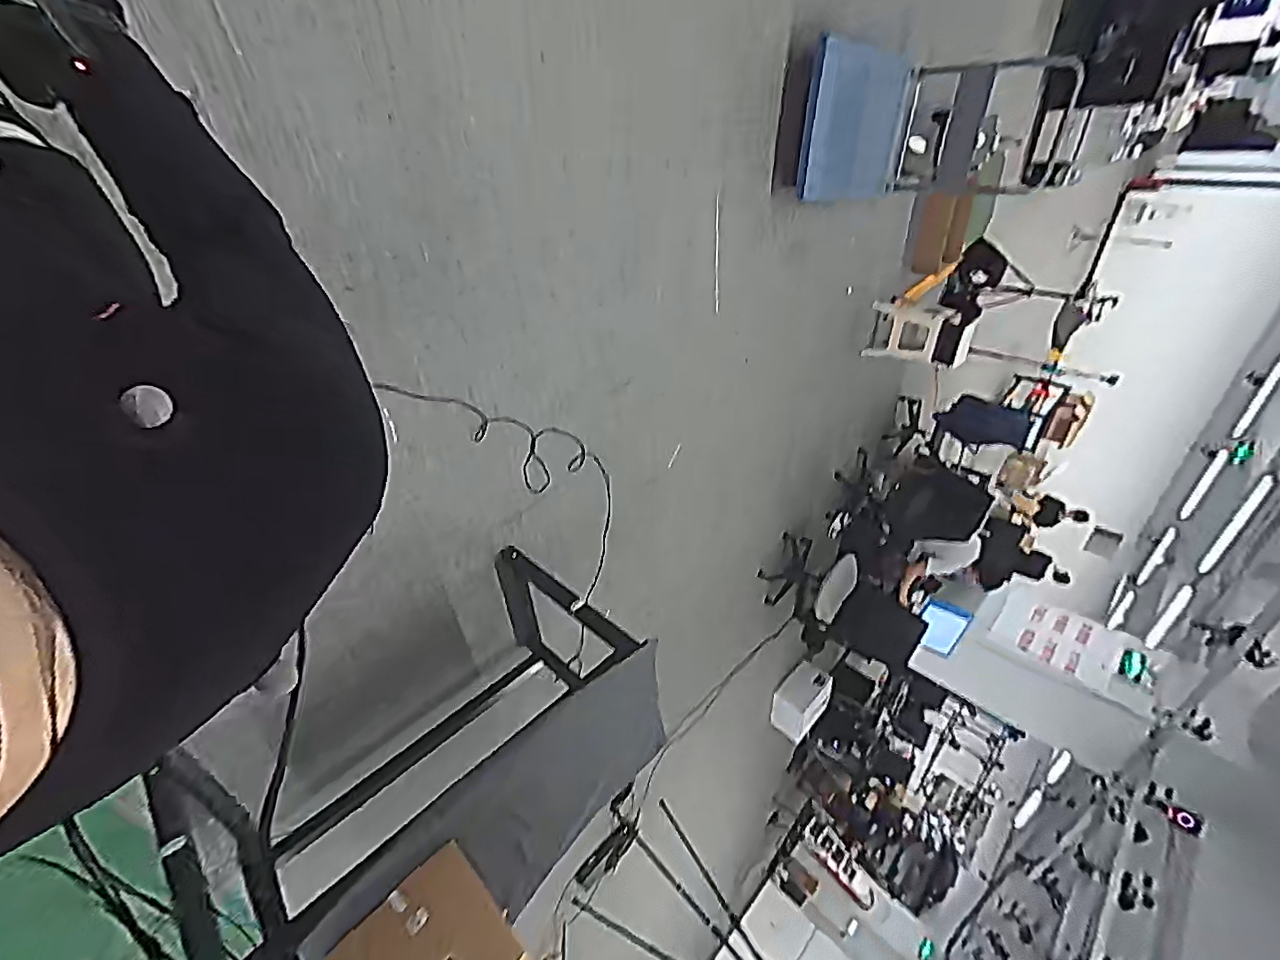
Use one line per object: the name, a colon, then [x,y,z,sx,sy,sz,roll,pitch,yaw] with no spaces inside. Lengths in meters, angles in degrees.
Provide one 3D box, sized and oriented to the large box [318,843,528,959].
large box: [-0.455,1.139,1.235,0.320,0.320,0.408,-33,135,-34]
